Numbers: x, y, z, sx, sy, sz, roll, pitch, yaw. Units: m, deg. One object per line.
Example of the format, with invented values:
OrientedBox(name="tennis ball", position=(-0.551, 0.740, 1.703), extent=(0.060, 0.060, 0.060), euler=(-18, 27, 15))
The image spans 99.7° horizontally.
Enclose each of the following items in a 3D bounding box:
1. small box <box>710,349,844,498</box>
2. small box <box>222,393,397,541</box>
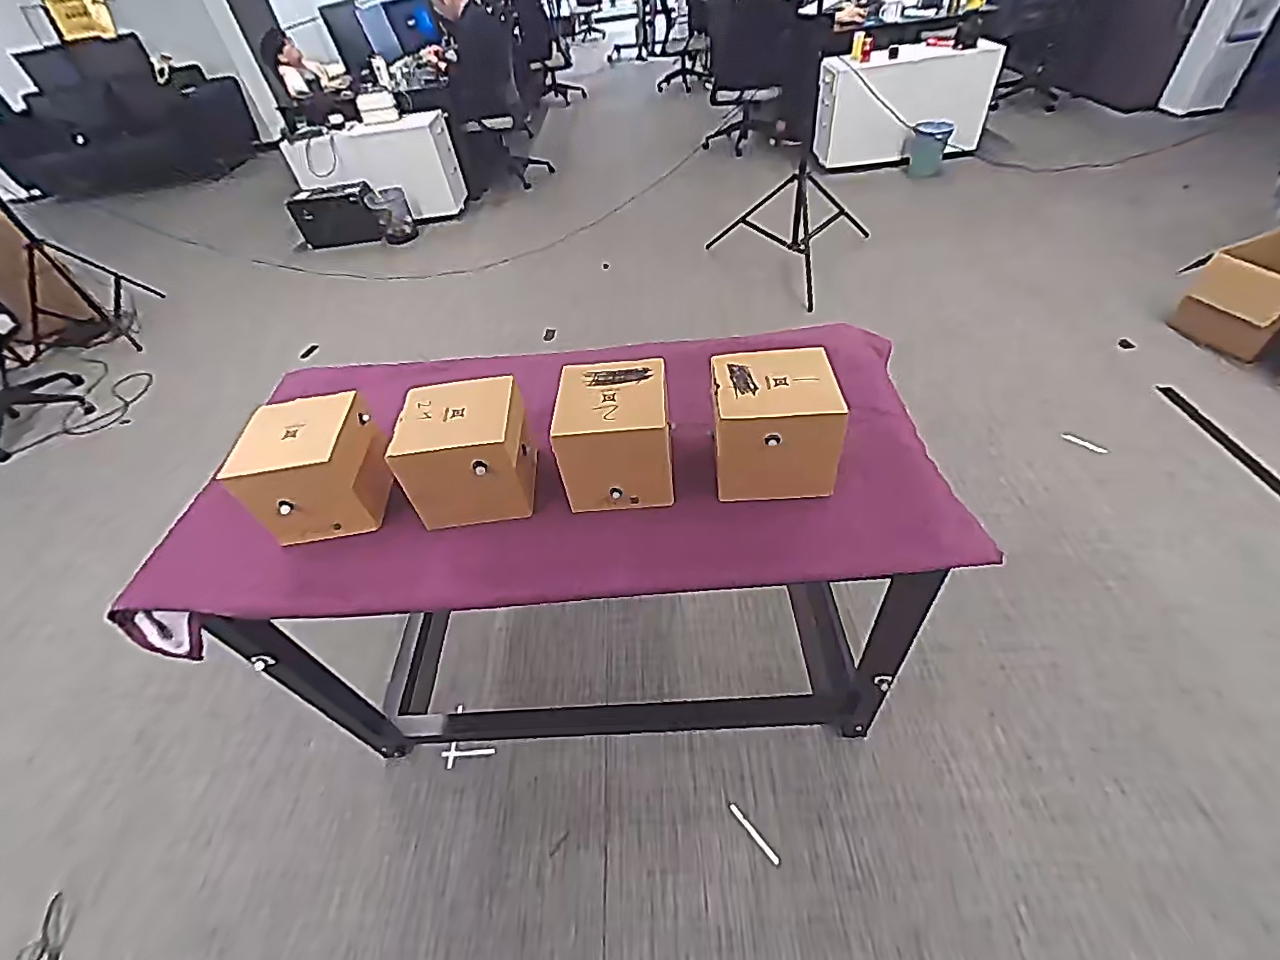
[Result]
OrientedBox(name="small box", position=(0.204, -0.085, 0.849), extent=(0.179, 0.176, 0.168), euler=(-3, 45, 5))
OrientedBox(name="small box", position=(-0.529, -0.015, 0.898), extent=(0.168, 0.176, 0.179), euler=(-10, 45, -1))
